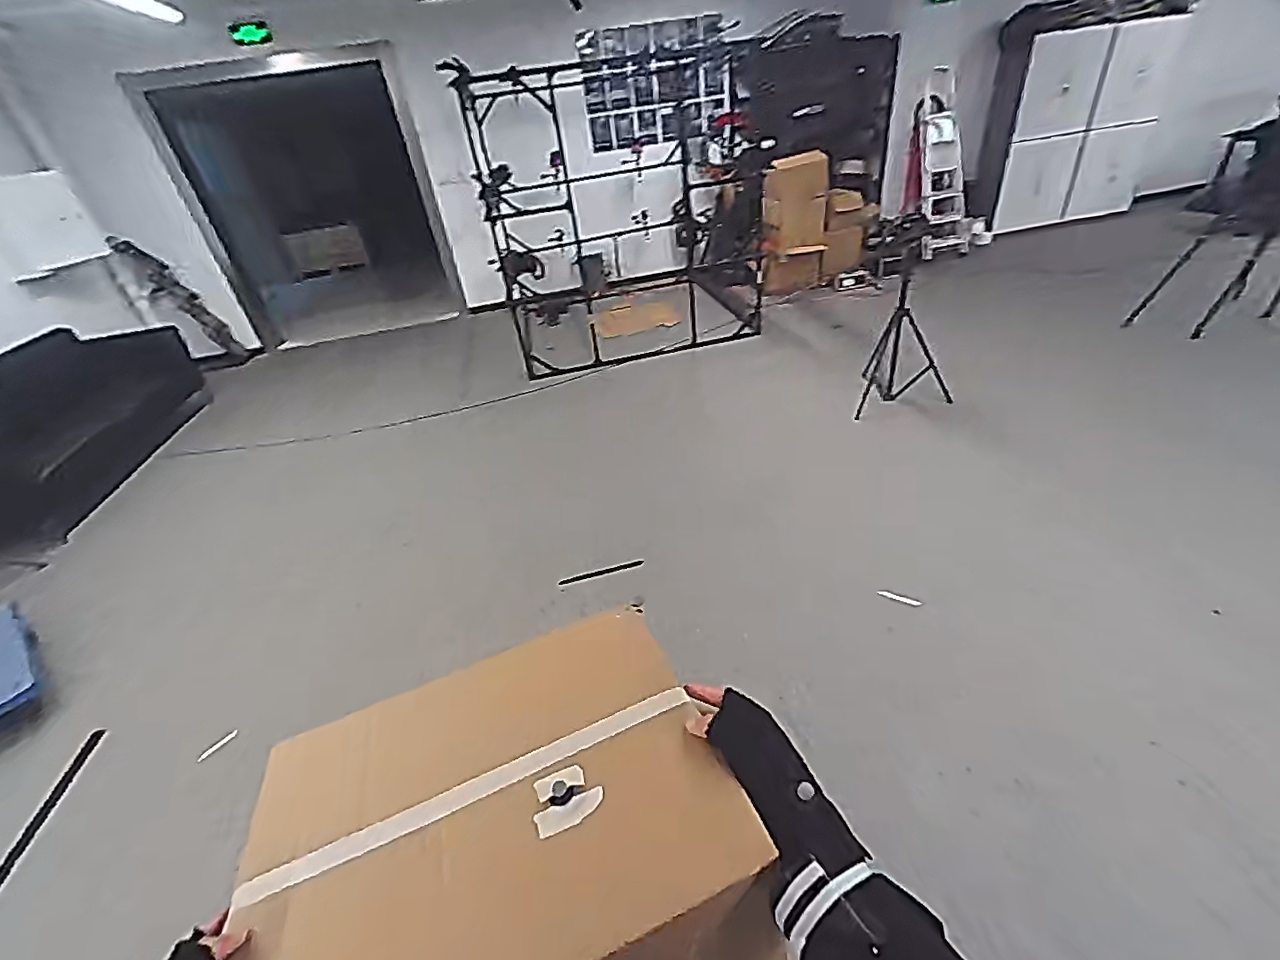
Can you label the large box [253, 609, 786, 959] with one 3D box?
[{"bbox_3d":[-0.102,0.408,0.568,0.408,0.320,0.320,-18,30,-13],"label":"large box"}]
